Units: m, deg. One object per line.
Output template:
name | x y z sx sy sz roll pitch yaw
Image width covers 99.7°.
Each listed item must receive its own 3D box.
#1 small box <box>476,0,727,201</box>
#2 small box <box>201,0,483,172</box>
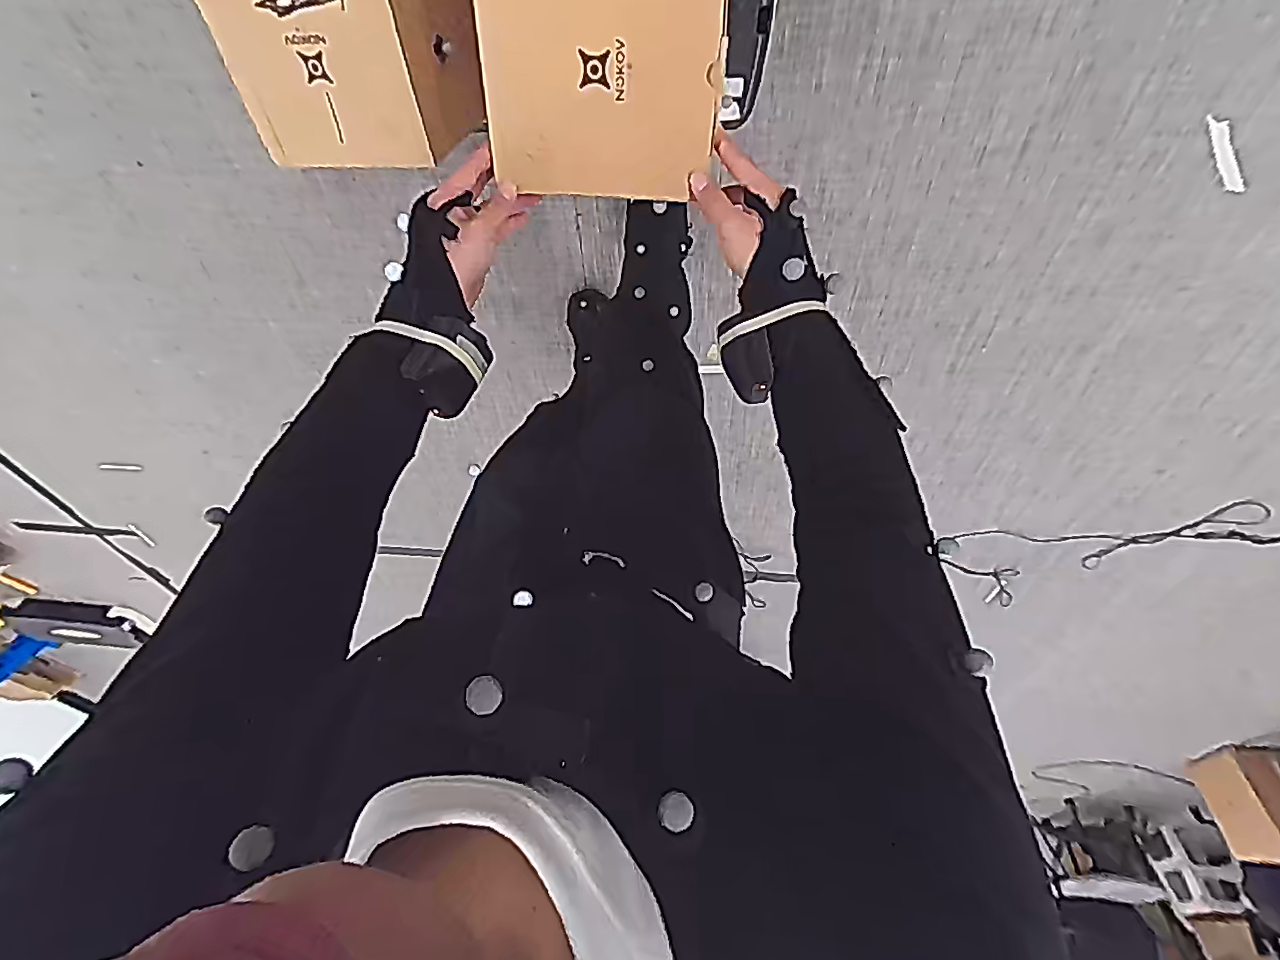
small box | -0.026 -0.345 0.460 0.179 0.176 0.168 2 126 0
small box | -0.266 -0.416 0.513 0.168 0.176 0.179 3 137 4
